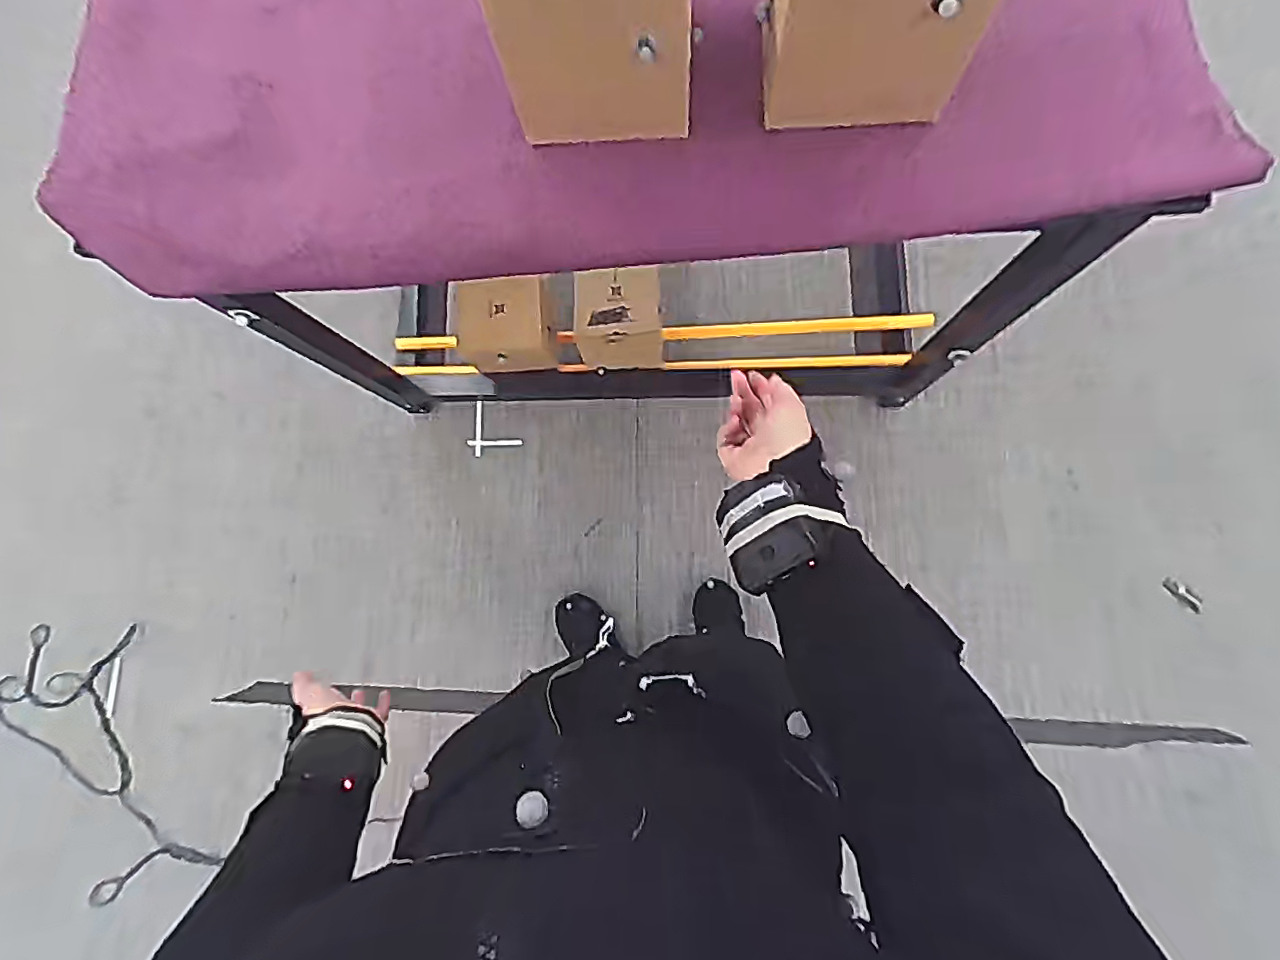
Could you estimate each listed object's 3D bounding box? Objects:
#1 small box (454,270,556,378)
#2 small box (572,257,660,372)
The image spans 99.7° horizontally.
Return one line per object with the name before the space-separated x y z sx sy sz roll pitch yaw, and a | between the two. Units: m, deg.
small box | -0.278 -0.325 1.152 0.179 0.176 0.168 -5 82 4
small box | -0.044 -0.336 1.132 0.168 0.176 0.179 -2 74 4
